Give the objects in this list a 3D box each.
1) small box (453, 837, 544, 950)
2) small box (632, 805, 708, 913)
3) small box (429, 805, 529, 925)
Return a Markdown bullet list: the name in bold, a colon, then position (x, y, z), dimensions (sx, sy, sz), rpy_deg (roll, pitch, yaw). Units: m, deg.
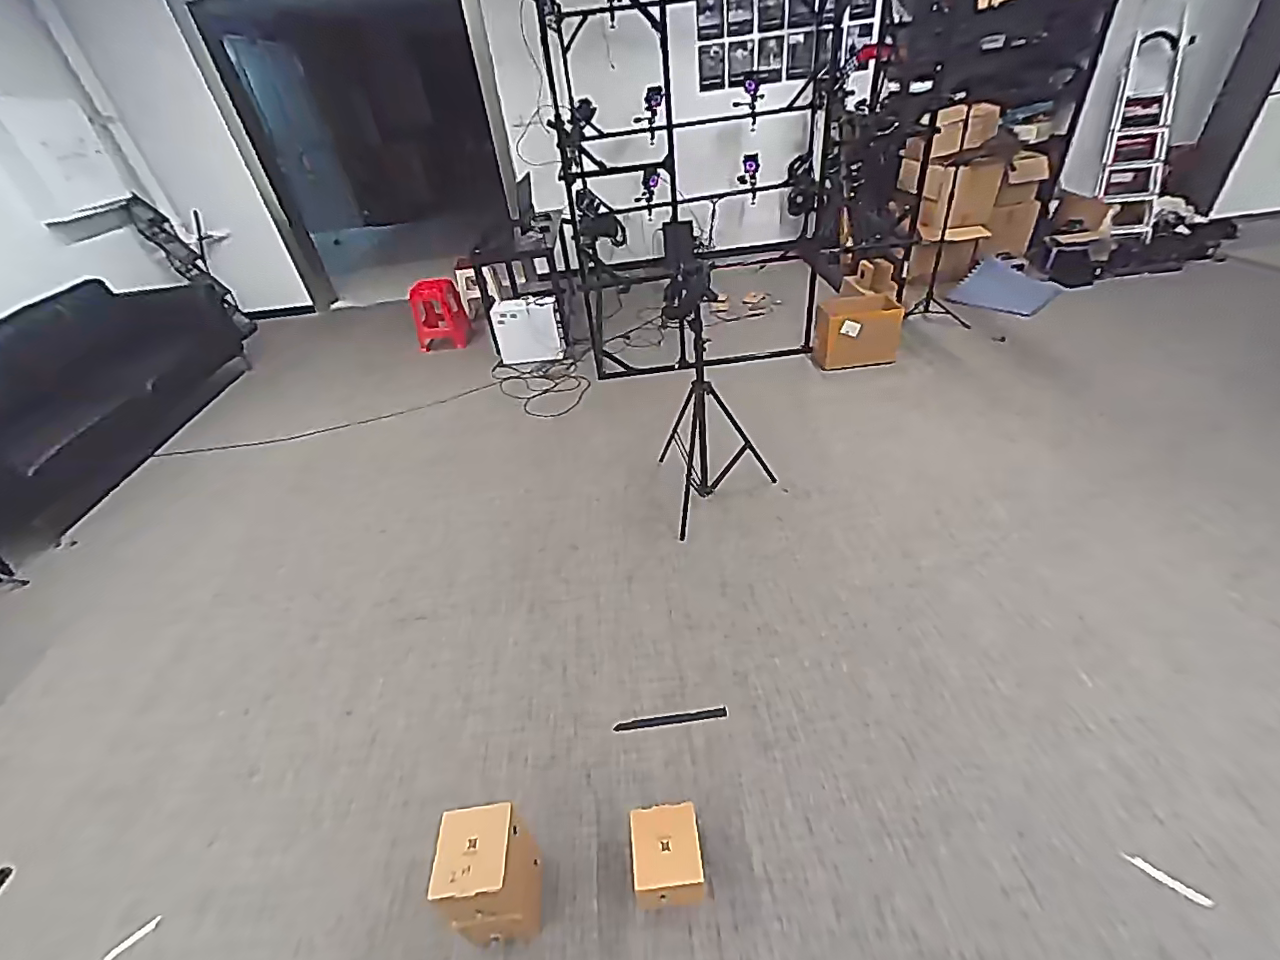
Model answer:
- **small box**: position (-0.339, 1.020, 1.336), dimensions (0.168, 0.176, 0.179), rpy_deg (-9, 37, 2)
- **small box**: position (0.075, 0.951, 1.351), dimensions (0.168, 0.176, 0.179), rpy_deg (-8, 37, 0)
- **small box**: position (-0.359, 0.885, 1.243), dimensions (0.168, 0.176, 0.179), rpy_deg (-9, 38, 2)
